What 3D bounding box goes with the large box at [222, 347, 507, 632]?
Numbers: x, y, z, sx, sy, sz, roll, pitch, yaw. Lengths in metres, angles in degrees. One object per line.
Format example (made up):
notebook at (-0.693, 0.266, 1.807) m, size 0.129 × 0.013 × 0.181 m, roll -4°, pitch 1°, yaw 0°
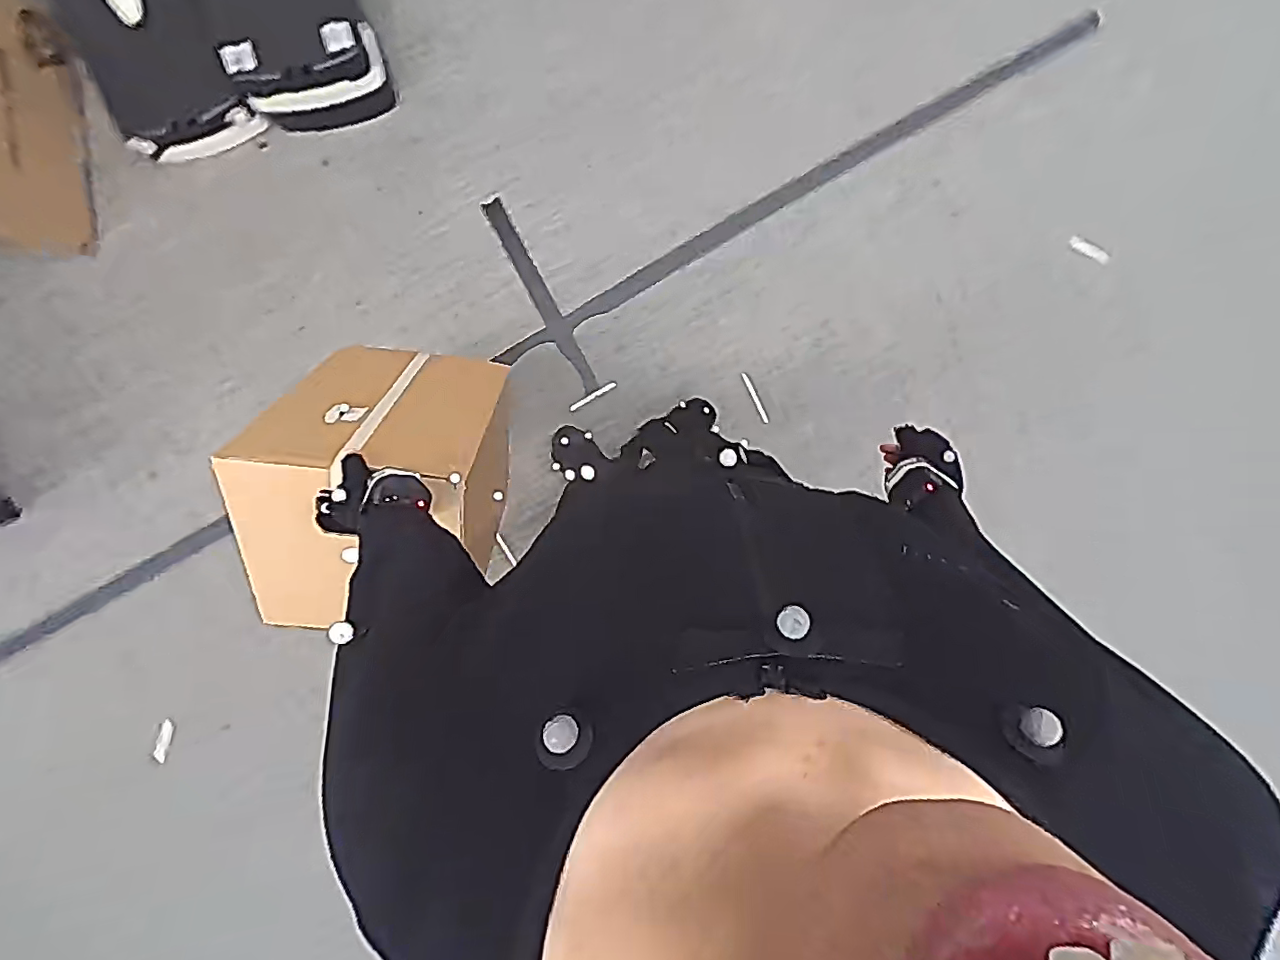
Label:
large box at (-0.426, 0.001, 0.956) m, size 0.320 × 0.408 × 0.320 m, roll 7°, pitch 124°, yaw -7°
